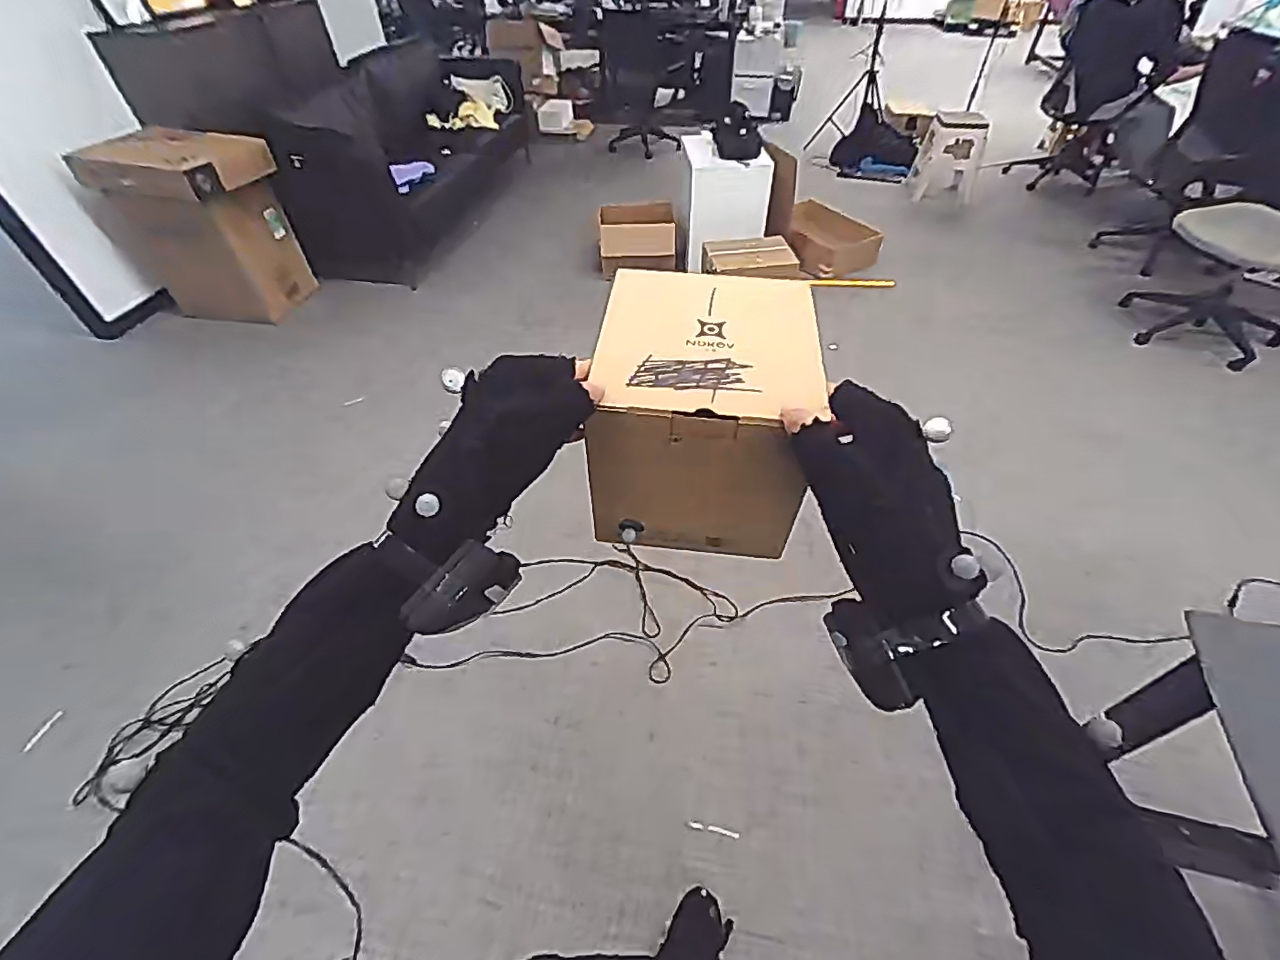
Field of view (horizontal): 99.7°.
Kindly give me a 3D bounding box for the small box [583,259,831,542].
[{"bbox_3d":[0.053,-0.064,0.464,0.168,0.176,0.179,5,51,4],"label":"small box"}]
